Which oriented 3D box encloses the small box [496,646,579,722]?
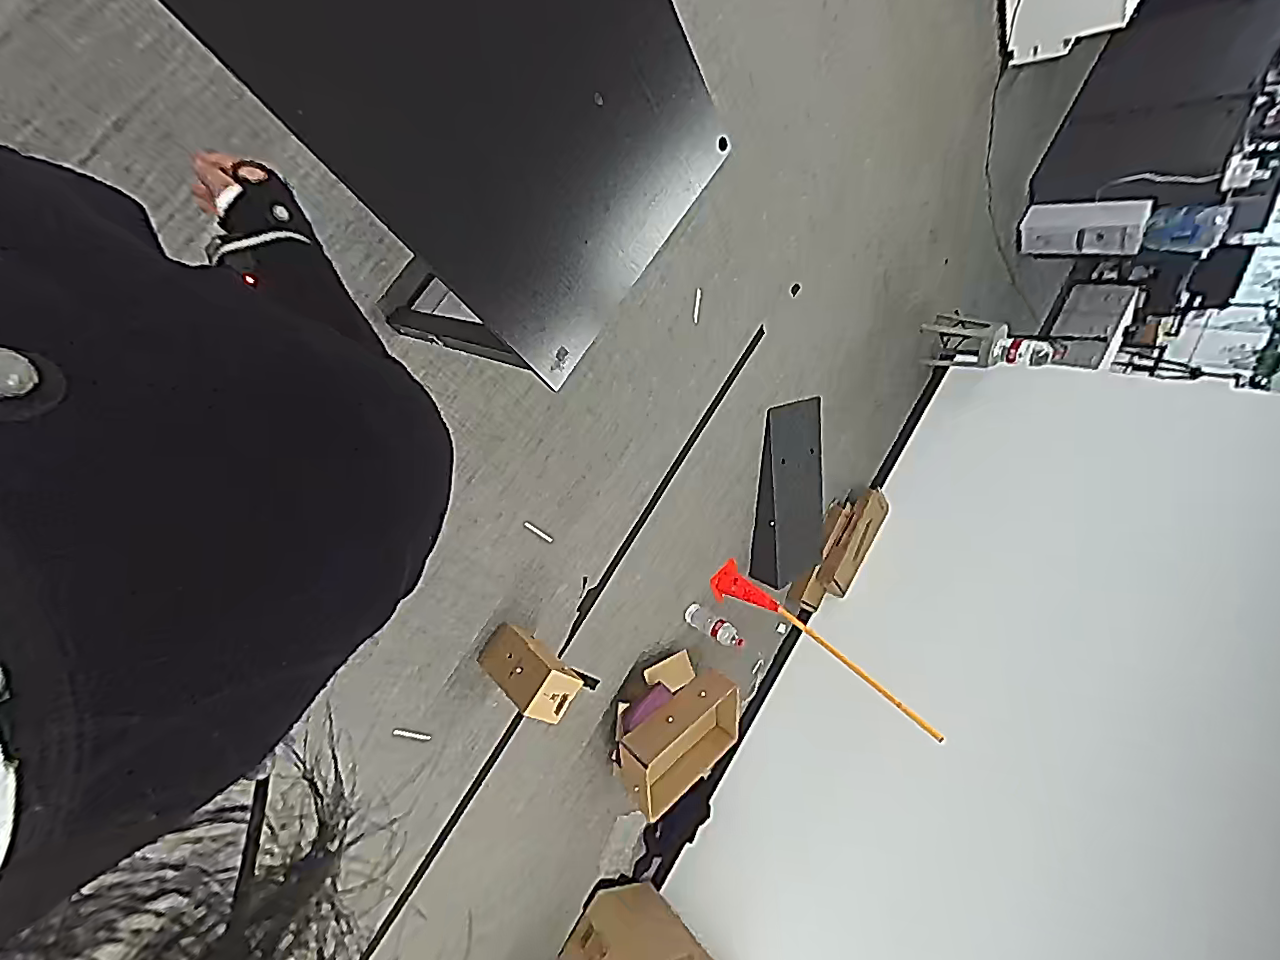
[{"bbox_3d":[-0.346,0.685,1.827,0.168,0.176,0.179,-57,136,-11],"label":"small box"}]

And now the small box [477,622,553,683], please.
[{"bbox_3d":[-0.454,0.639,1.942,0.179,0.176,0.168,-56,136,-11],"label":"small box"}]
